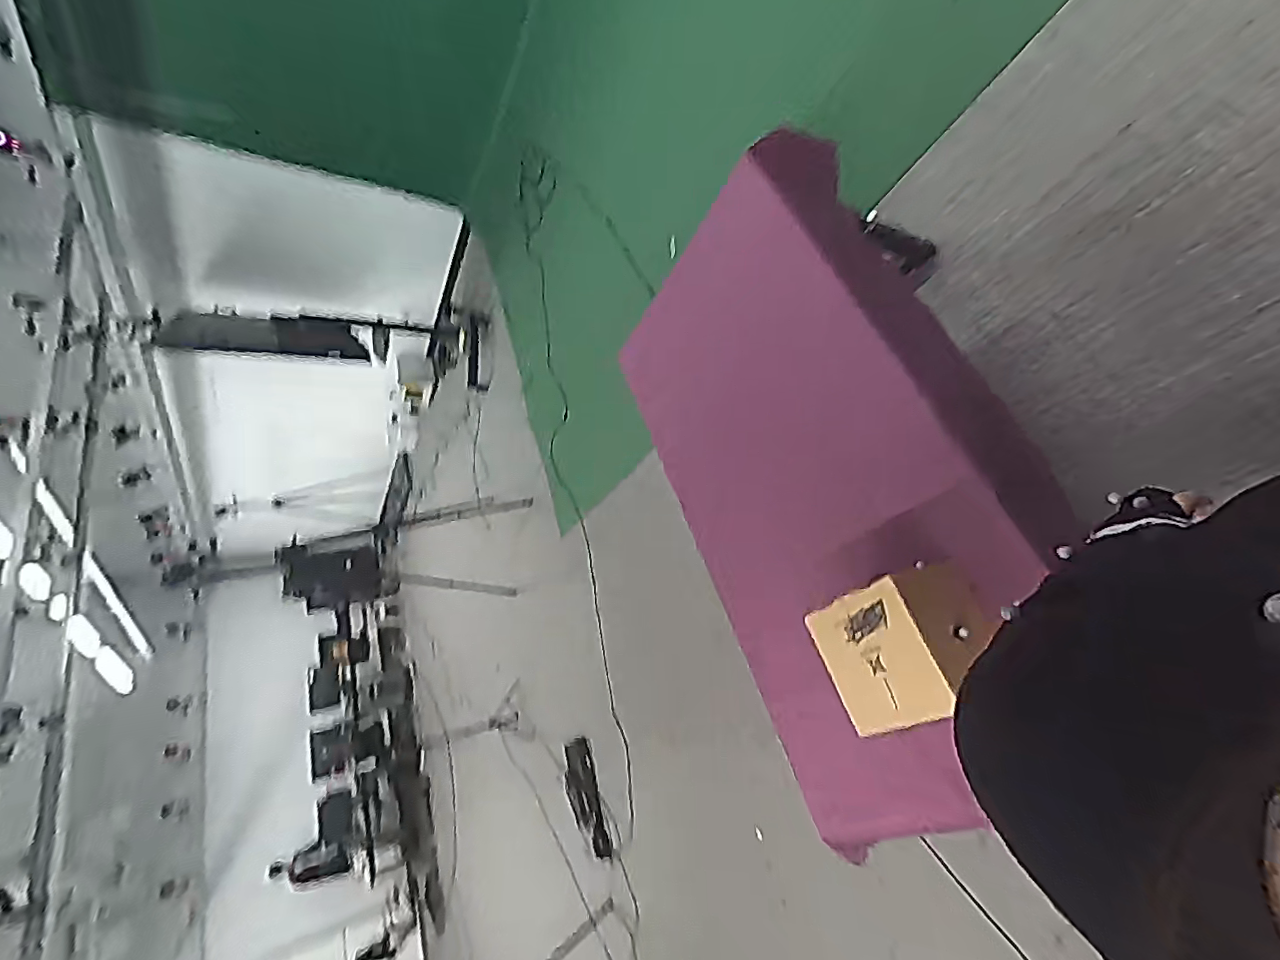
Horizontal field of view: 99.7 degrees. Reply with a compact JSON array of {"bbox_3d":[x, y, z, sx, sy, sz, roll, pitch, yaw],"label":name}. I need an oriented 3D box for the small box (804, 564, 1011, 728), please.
[{"bbox_3d":[0.380,0.230,0.779,0.168,0.176,0.179,-48,55,46],"label":"small box"}]
